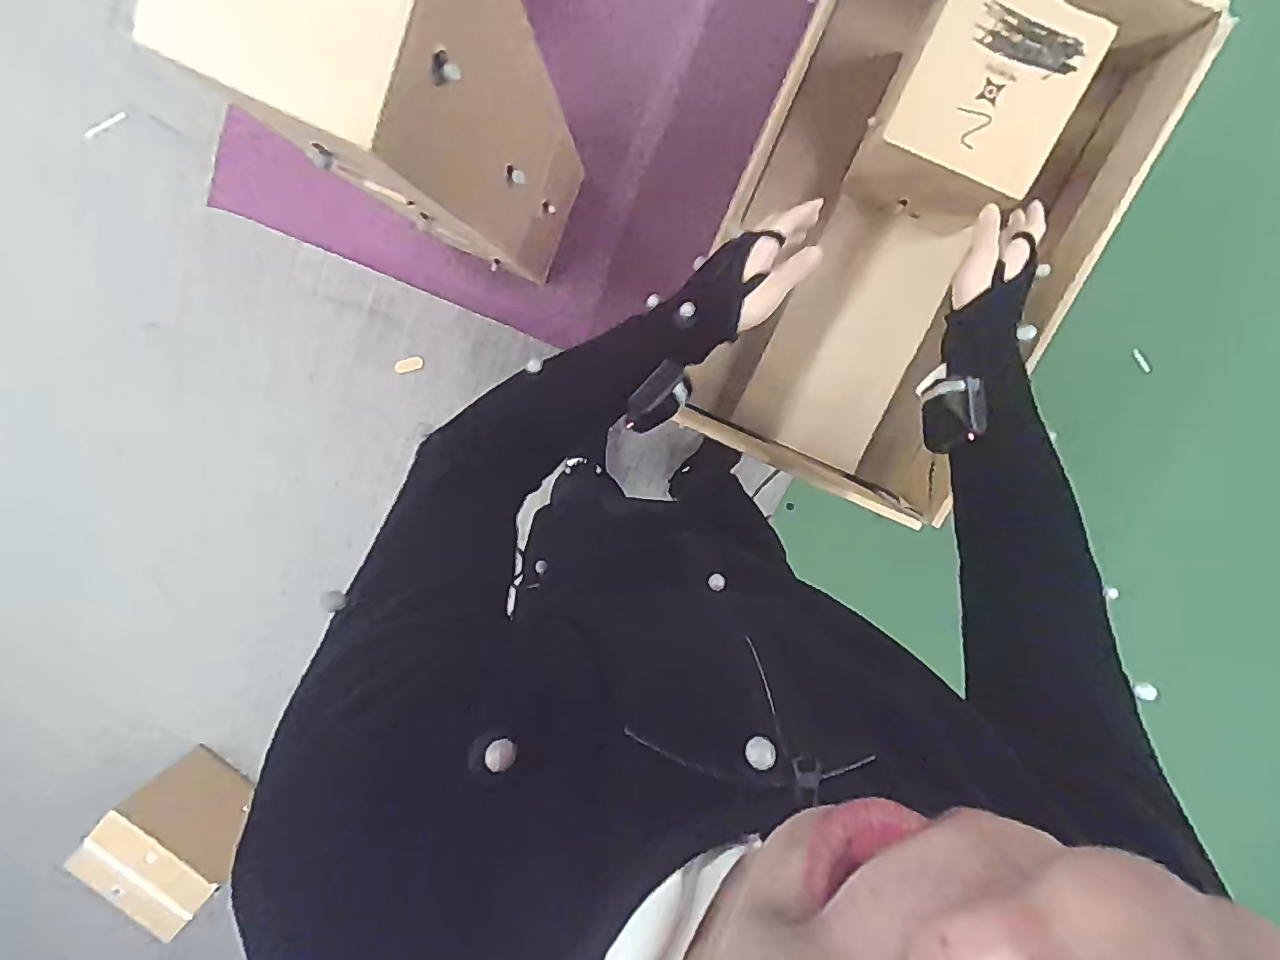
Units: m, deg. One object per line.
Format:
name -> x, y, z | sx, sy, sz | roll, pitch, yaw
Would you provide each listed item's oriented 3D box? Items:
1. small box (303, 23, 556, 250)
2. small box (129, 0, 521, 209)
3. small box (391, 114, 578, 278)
small box -> -0.202, -0.368, 0.566 | 0.168, 0.176, 0.179 | 24, 101, -2
small box -> -0.207, -0.337, 0.404 | 0.168, 0.176, 0.179 | 25, 100, -3
small box -> -0.195, -0.395, 0.727 | 0.168, 0.176, 0.179 | 24, 100, -2
